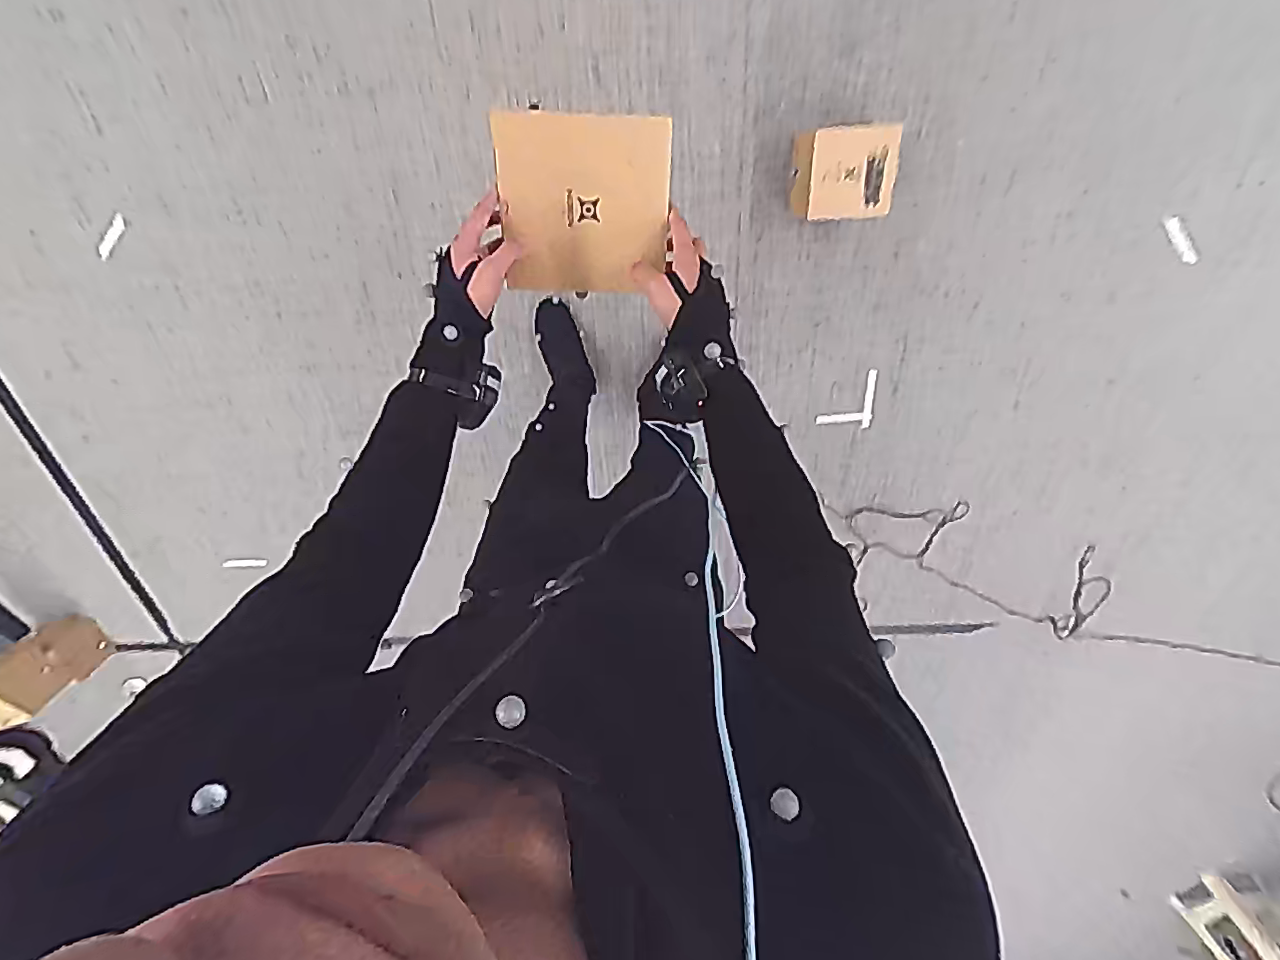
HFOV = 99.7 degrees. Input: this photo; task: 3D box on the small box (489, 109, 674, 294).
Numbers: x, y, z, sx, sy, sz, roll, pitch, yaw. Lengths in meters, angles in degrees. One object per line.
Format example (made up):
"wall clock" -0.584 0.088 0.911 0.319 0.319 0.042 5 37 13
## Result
"small box" -0.058 -0.319 0.614 0.179 0.176 0.168 1 124 -1
